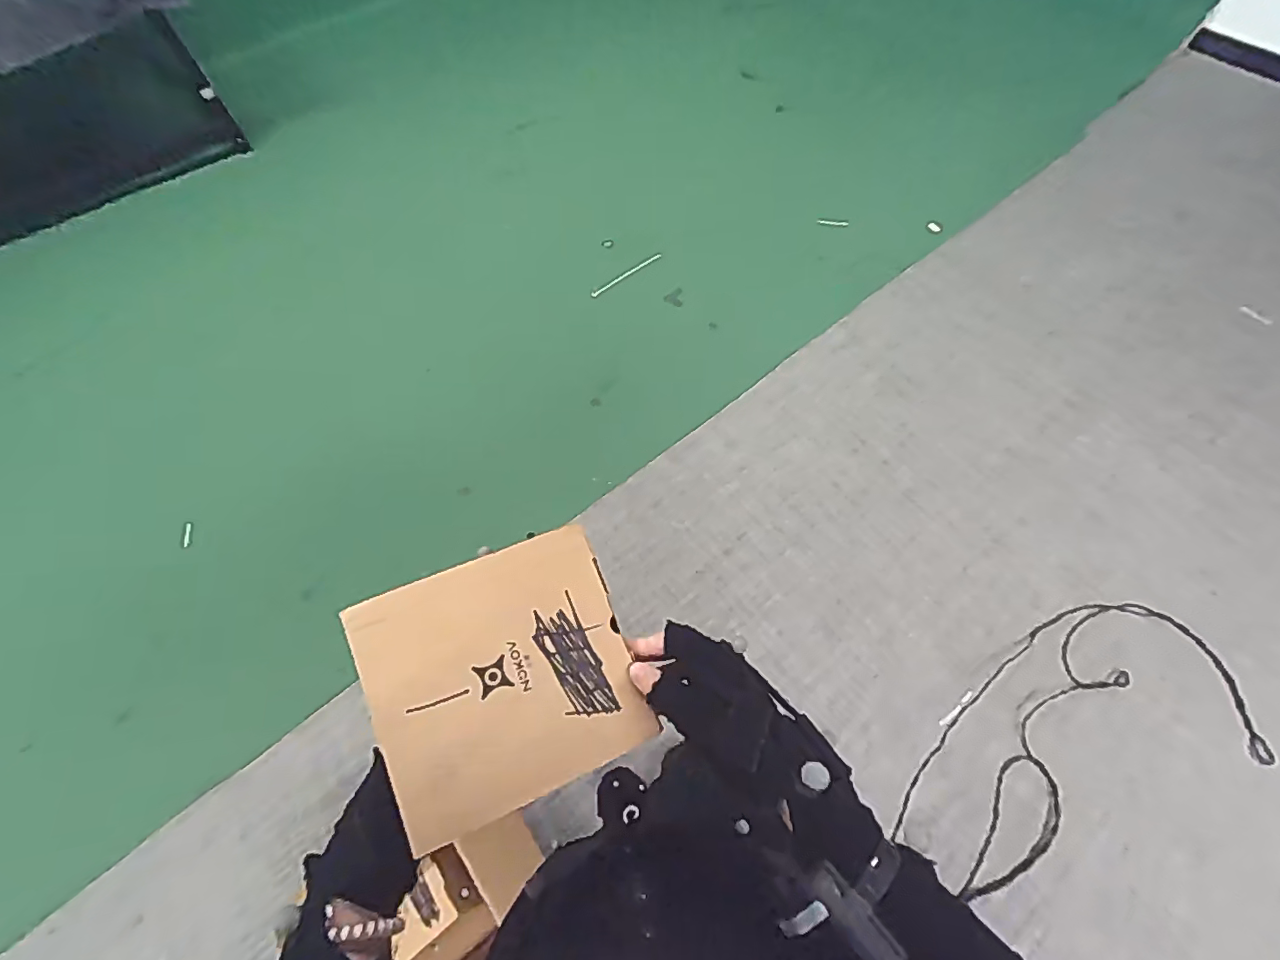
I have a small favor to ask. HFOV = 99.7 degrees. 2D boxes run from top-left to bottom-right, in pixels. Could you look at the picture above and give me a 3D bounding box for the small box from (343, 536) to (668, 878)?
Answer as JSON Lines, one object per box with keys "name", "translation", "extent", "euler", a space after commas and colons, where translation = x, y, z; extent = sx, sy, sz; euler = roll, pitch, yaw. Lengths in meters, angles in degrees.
{"name": "small box", "translation": [-0.102, 0.160, 0.437], "extent": [0.179, 0.176, 0.168], "euler": [-20, 79, -15]}
